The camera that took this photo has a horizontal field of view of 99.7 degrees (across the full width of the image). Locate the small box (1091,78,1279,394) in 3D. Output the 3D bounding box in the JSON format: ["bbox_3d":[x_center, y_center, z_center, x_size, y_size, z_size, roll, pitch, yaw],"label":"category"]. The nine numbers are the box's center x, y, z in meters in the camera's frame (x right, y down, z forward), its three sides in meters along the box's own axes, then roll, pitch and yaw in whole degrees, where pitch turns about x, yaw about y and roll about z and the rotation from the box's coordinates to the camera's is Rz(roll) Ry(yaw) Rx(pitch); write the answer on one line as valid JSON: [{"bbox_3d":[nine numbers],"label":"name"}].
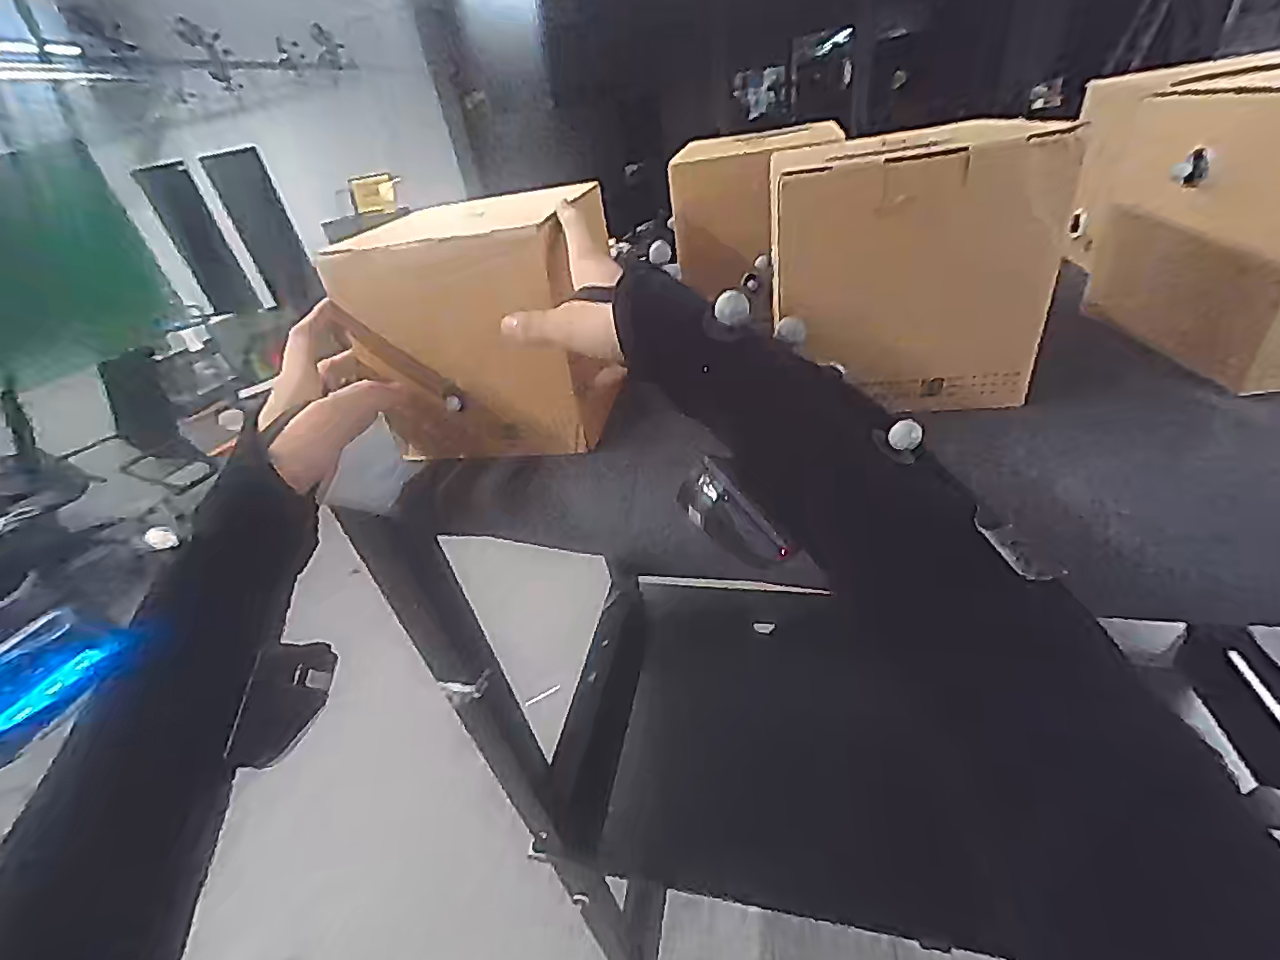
[{"bbox_3d":[0.462,-0.173,0.366,0.168,0.176,0.179,-5,34,8],"label":"small box"}]

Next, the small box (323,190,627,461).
[{"bbox_3d":[-0.111,-0.131,0.457,0.168,0.176,0.179,-2,35,12],"label":"small box"}]

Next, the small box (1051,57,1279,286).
[{"bbox_3d":[0.548,-0.297,0.526,0.179,0.176,0.168,1,35,16],"label":"small box"}]
